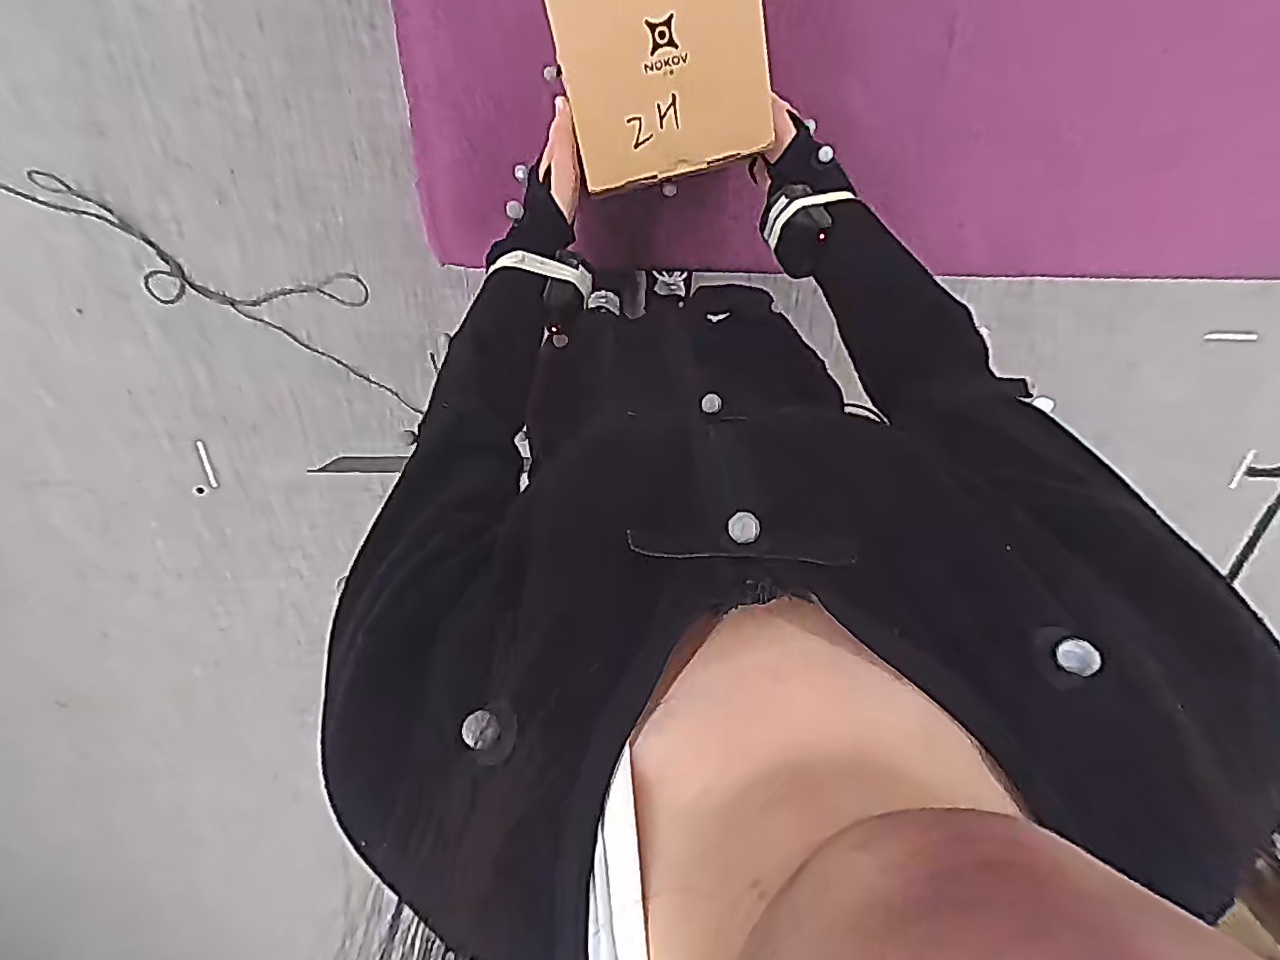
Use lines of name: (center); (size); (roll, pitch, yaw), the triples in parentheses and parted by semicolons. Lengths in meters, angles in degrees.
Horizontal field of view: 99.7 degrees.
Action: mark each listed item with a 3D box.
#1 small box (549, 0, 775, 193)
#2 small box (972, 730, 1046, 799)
small box: (0.013, -0.380, 0.497); (0.168, 0.176, 0.179); (-13, 116, 3)
small box: (1.508, 1.162, 2.222); (0.168, 0.176, 0.179); (-34, 115, 14)
